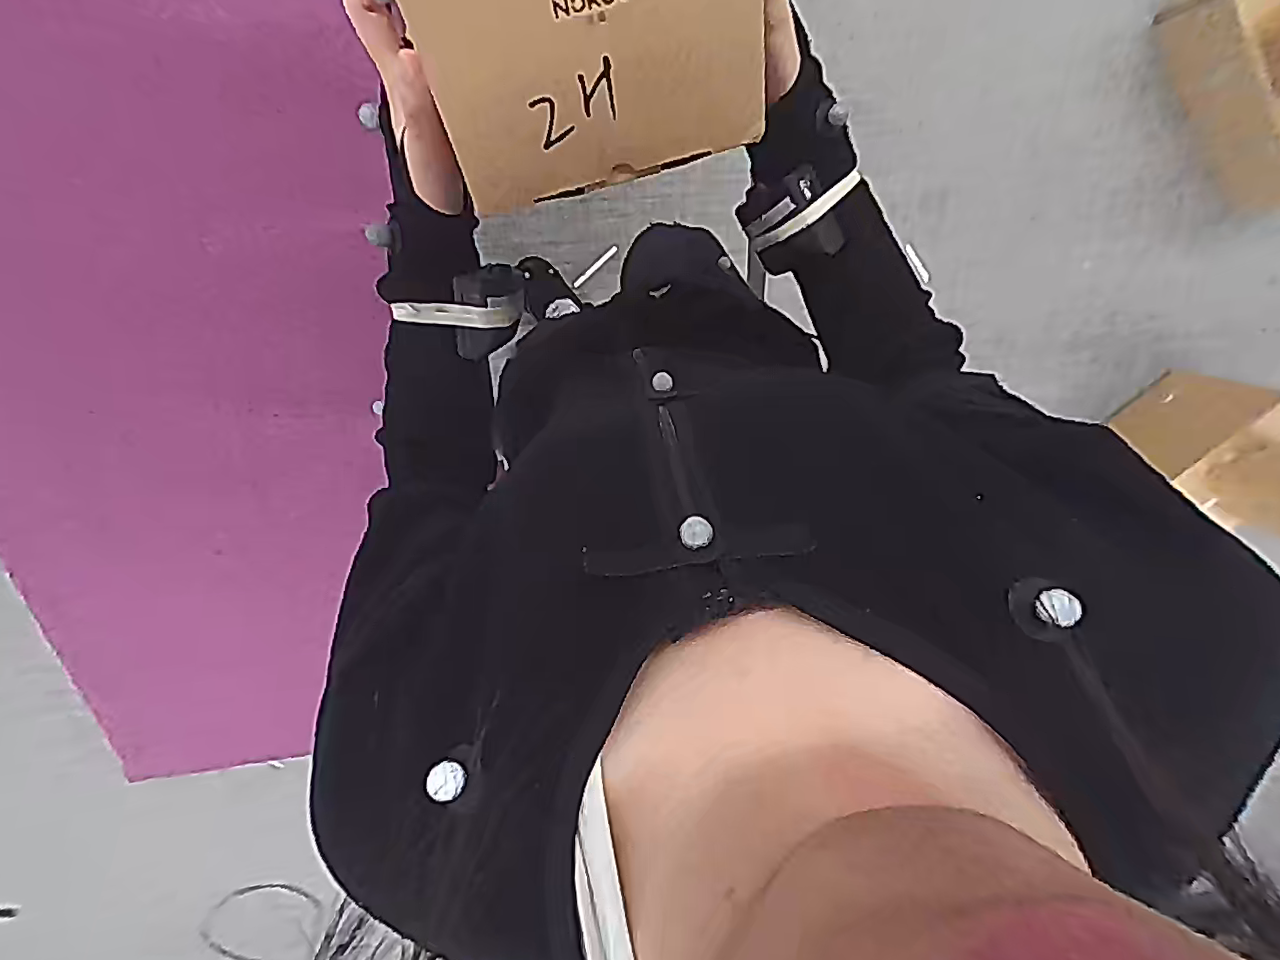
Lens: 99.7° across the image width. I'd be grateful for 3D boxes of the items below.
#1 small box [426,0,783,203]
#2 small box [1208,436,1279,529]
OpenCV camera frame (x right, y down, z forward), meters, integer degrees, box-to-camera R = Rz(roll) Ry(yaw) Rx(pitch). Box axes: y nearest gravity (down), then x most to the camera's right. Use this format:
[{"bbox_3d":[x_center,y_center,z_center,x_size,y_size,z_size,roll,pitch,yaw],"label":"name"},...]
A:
[{"bbox_3d":[-0.032,-0.283,0.291,0.168,0.176,0.179,-15,136,-1],"label":"small box"},{"bbox_3d":[1.661,0.004,1.417,0.168,0.176,0.179,-42,114,10],"label":"small box"}]
